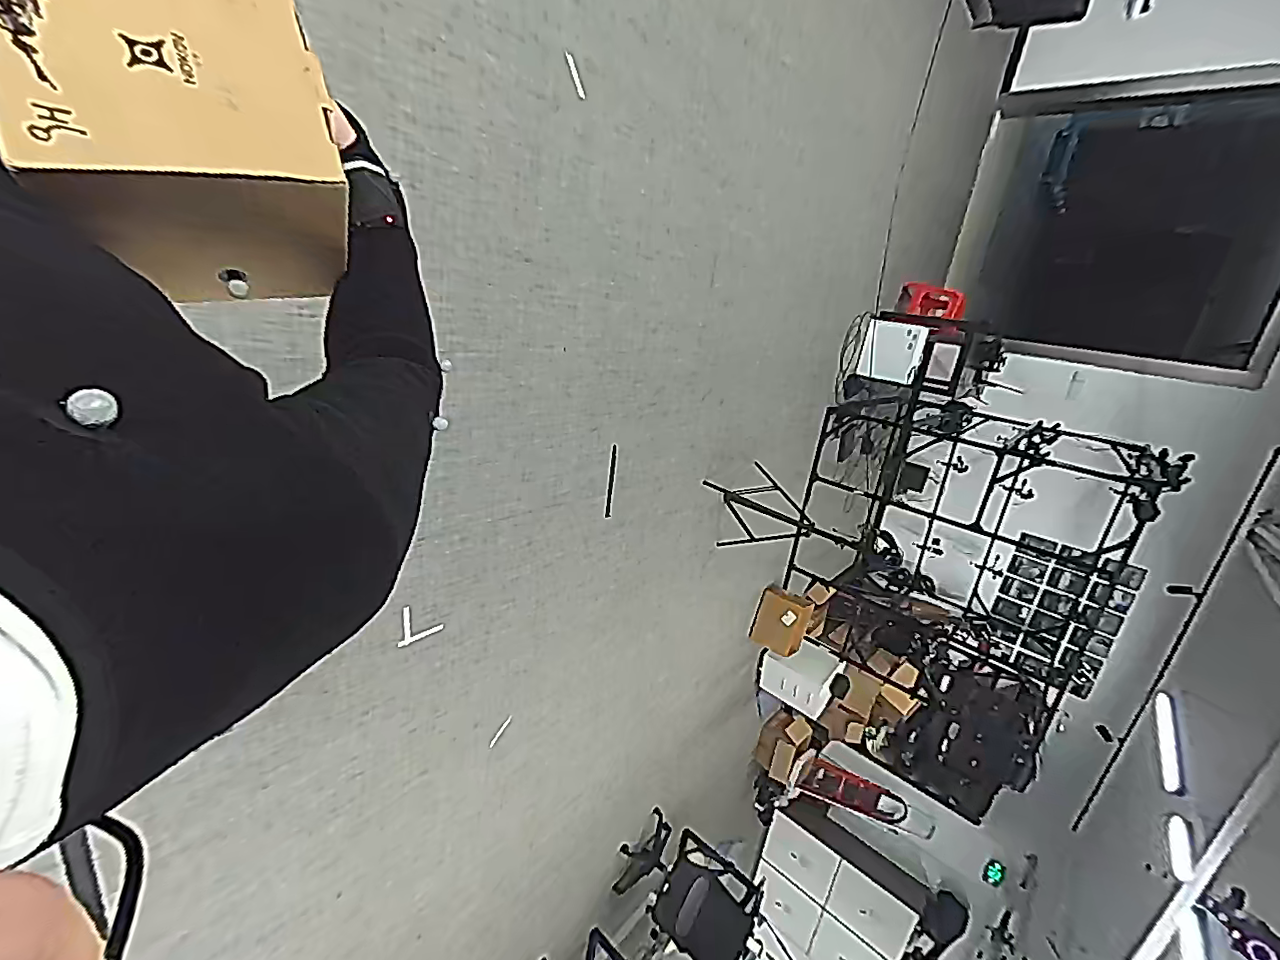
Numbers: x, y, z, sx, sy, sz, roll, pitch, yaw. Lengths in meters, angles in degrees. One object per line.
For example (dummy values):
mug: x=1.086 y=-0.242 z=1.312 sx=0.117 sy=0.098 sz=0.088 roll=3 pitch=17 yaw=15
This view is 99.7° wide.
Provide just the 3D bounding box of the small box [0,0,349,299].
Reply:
small box: x=-0.352 y=-0.261 z=0.433 sx=0.179 sy=0.176 sz=0.168 roll=-15 pitch=86 yaw=-31
